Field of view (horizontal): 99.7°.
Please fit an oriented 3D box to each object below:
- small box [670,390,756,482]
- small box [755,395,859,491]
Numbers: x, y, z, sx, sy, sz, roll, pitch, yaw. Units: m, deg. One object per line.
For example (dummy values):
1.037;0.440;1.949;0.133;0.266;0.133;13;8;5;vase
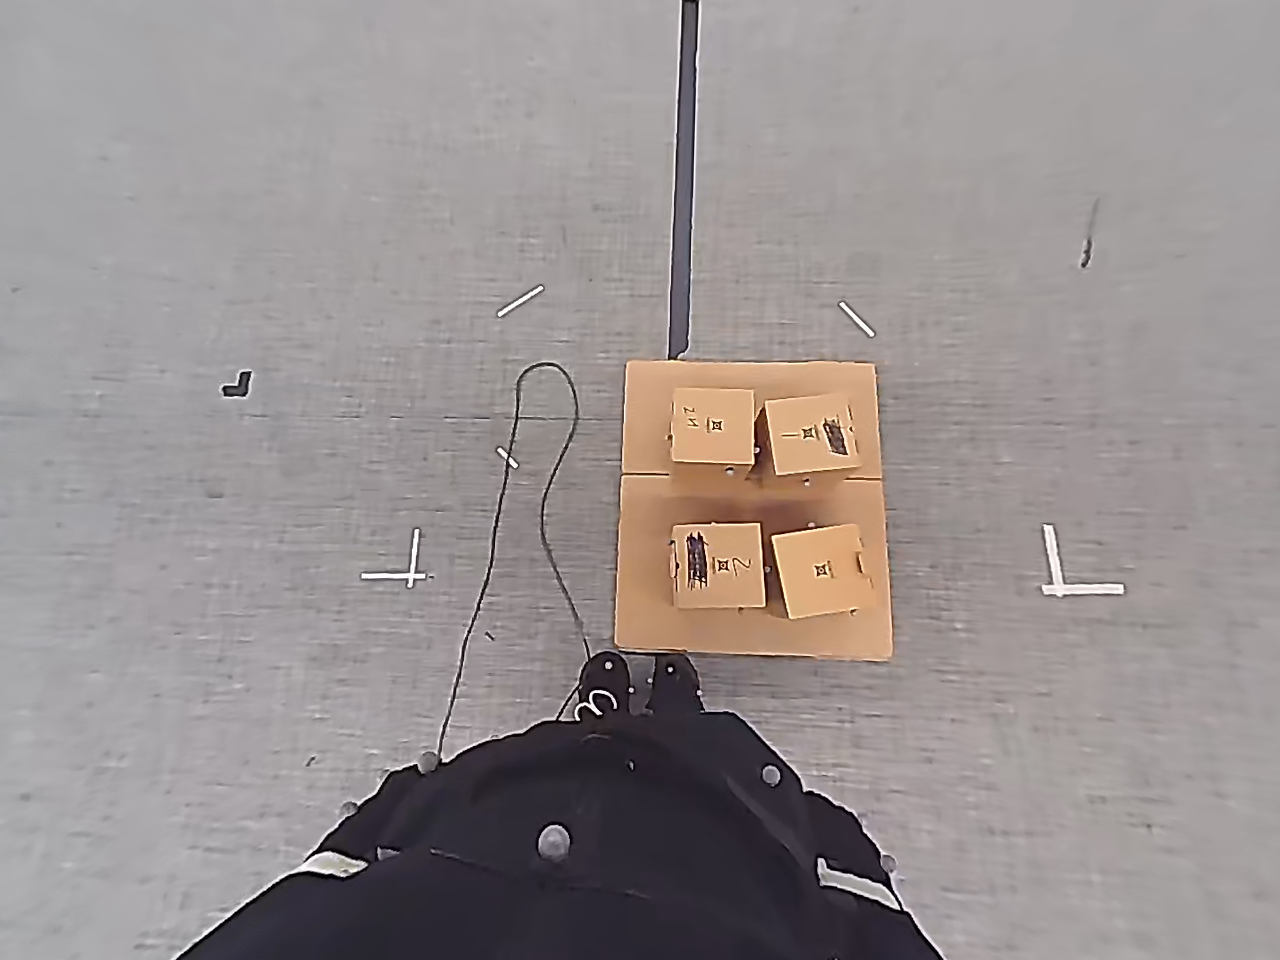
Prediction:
0.159;-0.093;1.223;0.179;0.176;0.168;3;77;3;small box
0.362;-0.077;1.208;0.179;0.176;0.168;-6;76;2;small box
